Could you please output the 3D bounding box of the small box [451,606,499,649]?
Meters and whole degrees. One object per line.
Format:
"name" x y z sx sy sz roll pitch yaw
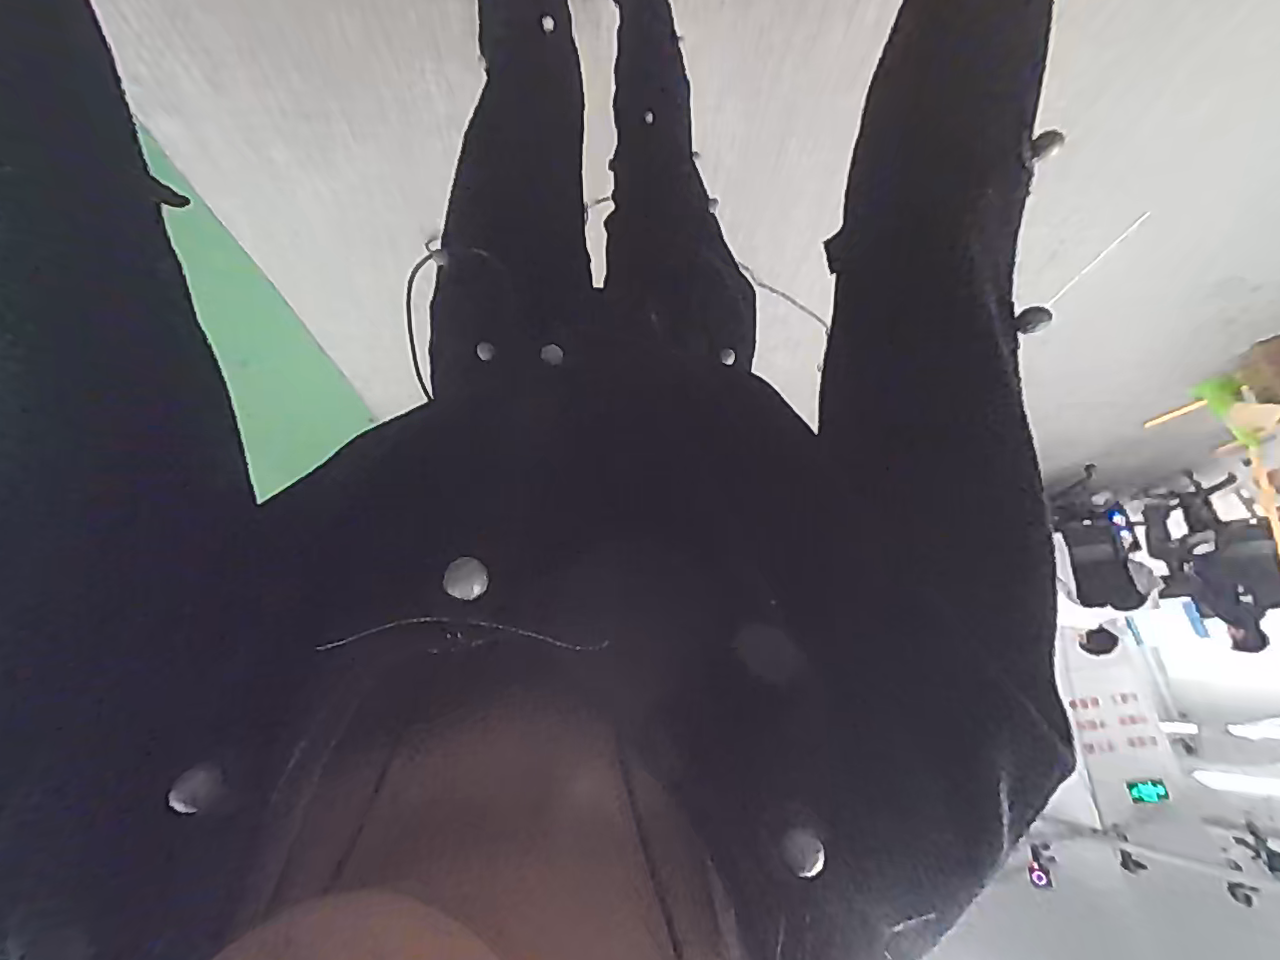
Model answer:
"small box" -0.702 0.638 2.308 0.168 0.176 0.179 -6 160 -4
